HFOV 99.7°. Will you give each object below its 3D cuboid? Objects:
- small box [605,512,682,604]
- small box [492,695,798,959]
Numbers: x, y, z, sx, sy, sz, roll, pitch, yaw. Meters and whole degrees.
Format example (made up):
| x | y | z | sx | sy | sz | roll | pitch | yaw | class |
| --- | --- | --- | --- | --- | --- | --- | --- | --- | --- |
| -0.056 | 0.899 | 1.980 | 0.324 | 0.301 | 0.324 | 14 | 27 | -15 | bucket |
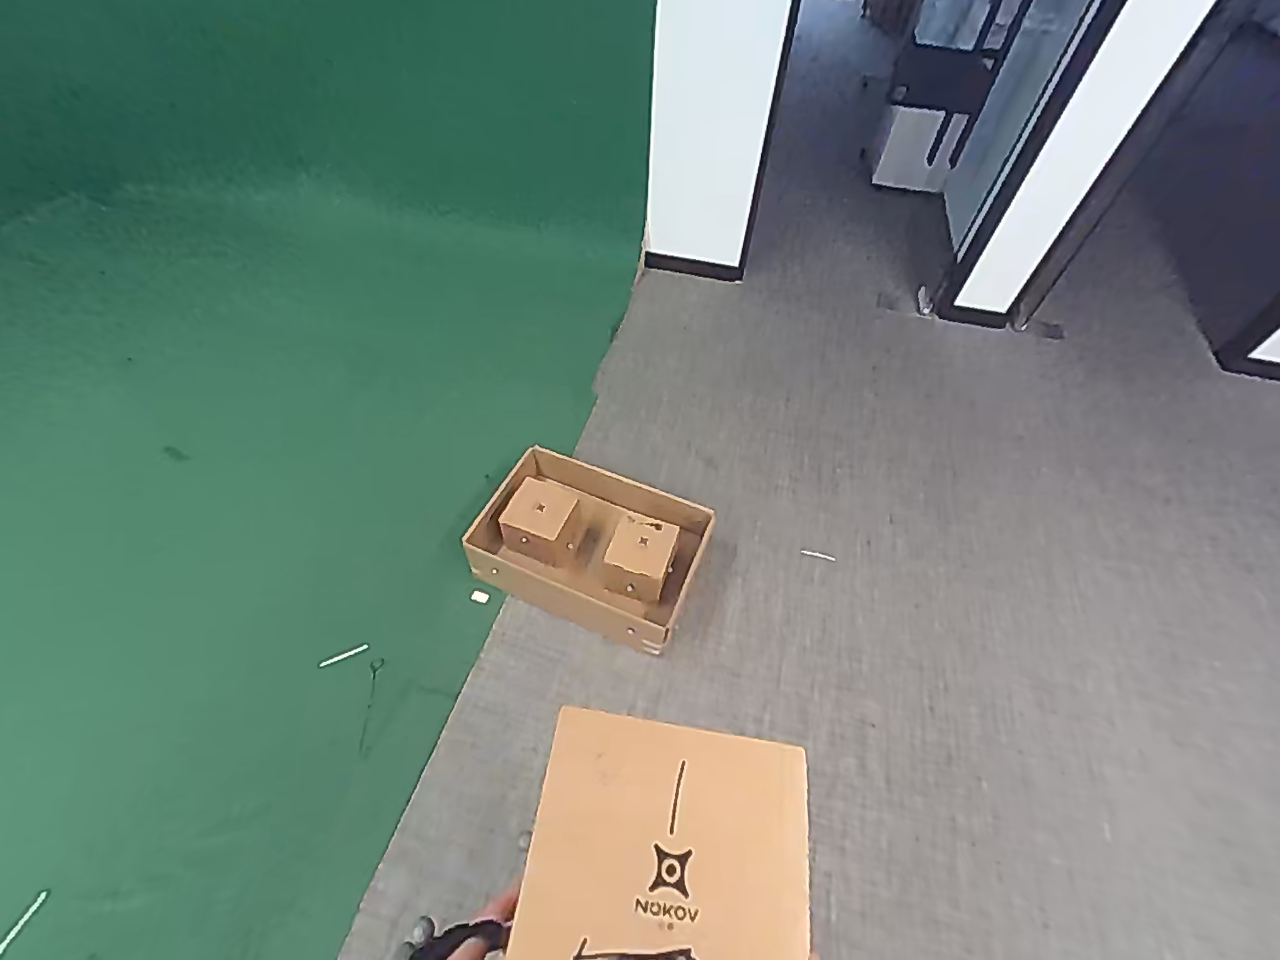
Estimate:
| x | y | z | sx | sy | sz | roll | pitch | yaw | class |
| --- | --- | --- | --- | --- | --- | --- | --- | --- | --- |
| 0.011 | 0.223 | 1.520 | 0.168 | 0.176 | 0.179 | 16 | 55 | 10 | small box |
| 0.005 | 0.272 | 0.379 | 0.168 | 0.176 | 0.179 | 10 | 56 | 1 | small box |
